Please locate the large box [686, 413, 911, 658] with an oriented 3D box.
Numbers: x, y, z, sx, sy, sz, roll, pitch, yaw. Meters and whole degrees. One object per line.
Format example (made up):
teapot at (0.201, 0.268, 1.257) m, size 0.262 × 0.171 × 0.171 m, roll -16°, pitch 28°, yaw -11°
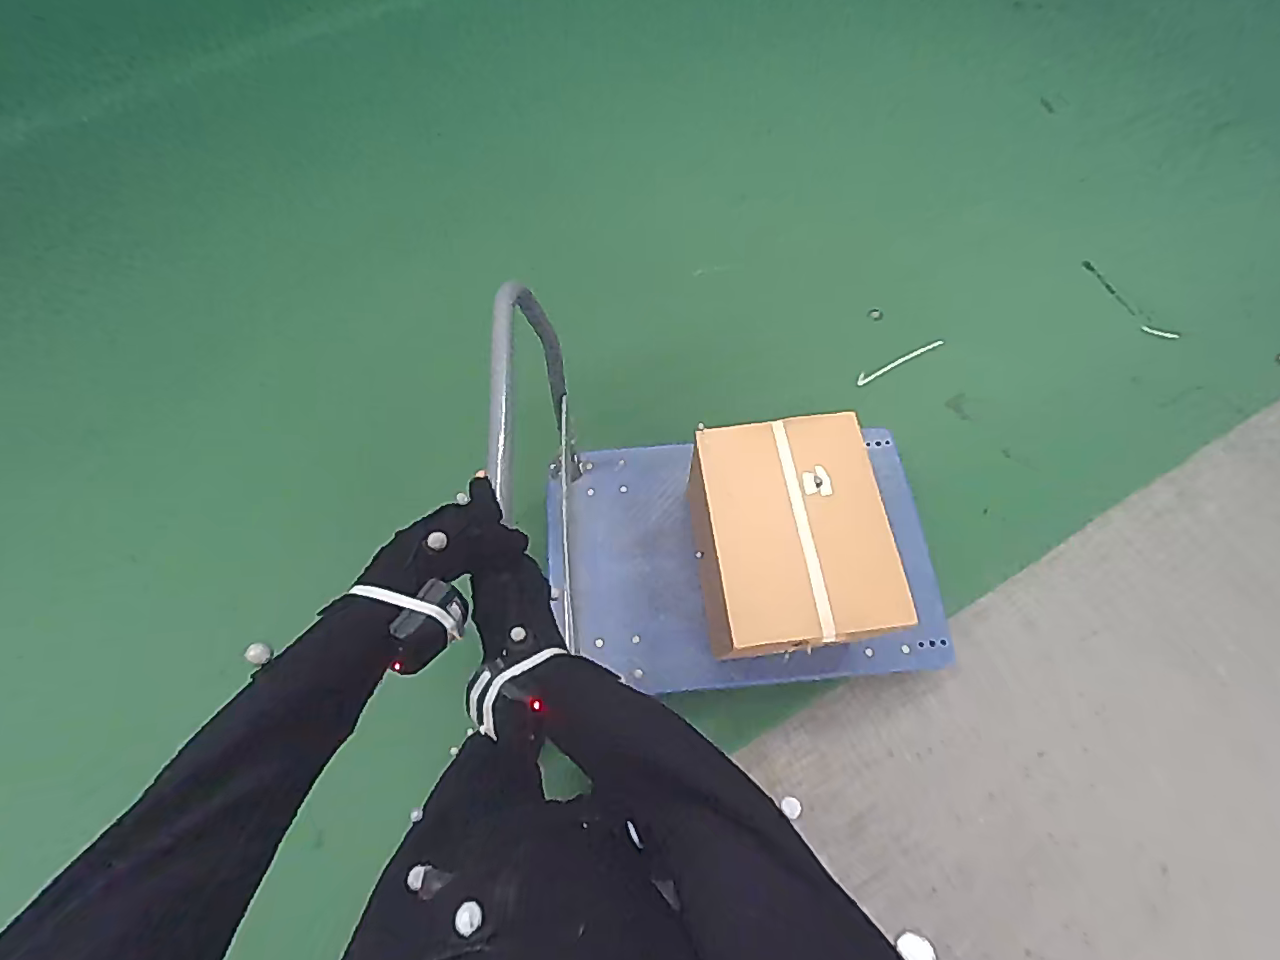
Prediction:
large box at (0.283, 0.127, 1.109) m, size 0.320 × 0.320 × 0.408 m, roll -7°, pitch 68°, yaw -3°
